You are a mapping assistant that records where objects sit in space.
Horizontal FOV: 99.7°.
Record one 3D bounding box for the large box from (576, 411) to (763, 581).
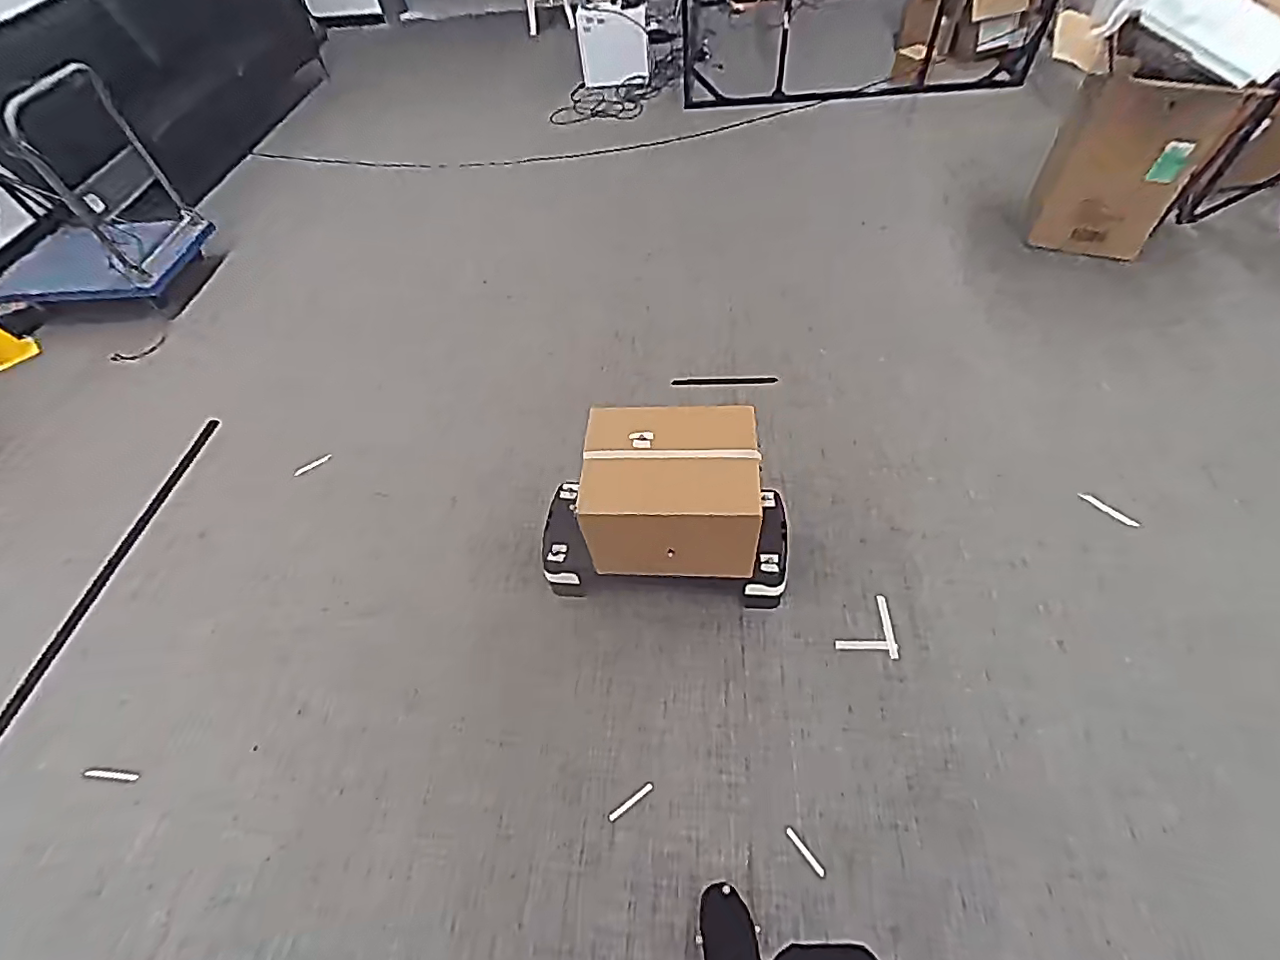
[{"bbox_3d":[0.083,0.050,1.348,0.408,0.320,0.320,-1,54,7],"label":"large box"}]
